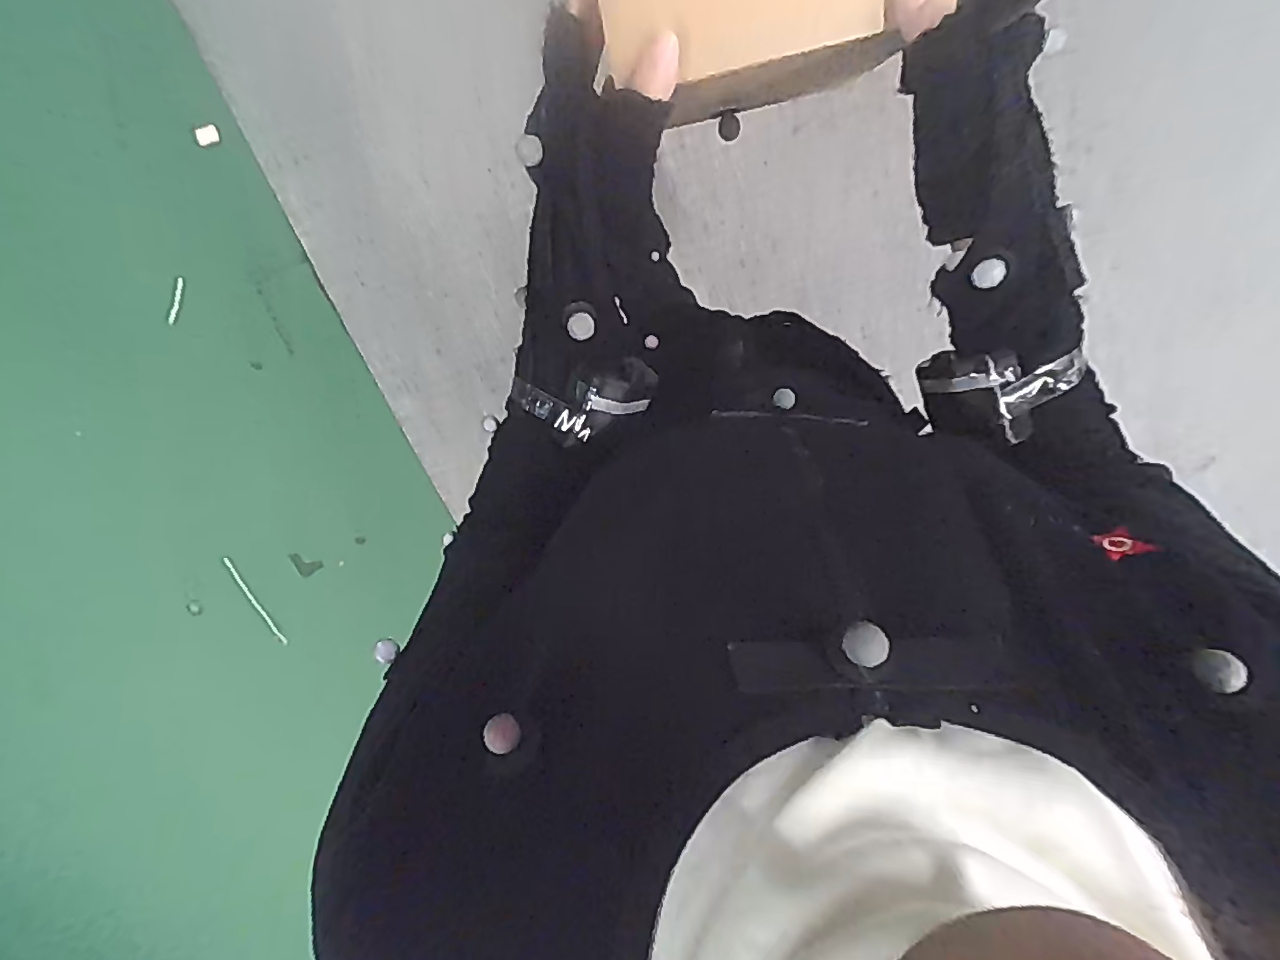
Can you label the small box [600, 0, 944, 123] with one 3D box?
[{"bbox_3d":[0.052,-0.325,0.297,0.168,0.176,0.179,-10,116,6],"label":"small box"}]
